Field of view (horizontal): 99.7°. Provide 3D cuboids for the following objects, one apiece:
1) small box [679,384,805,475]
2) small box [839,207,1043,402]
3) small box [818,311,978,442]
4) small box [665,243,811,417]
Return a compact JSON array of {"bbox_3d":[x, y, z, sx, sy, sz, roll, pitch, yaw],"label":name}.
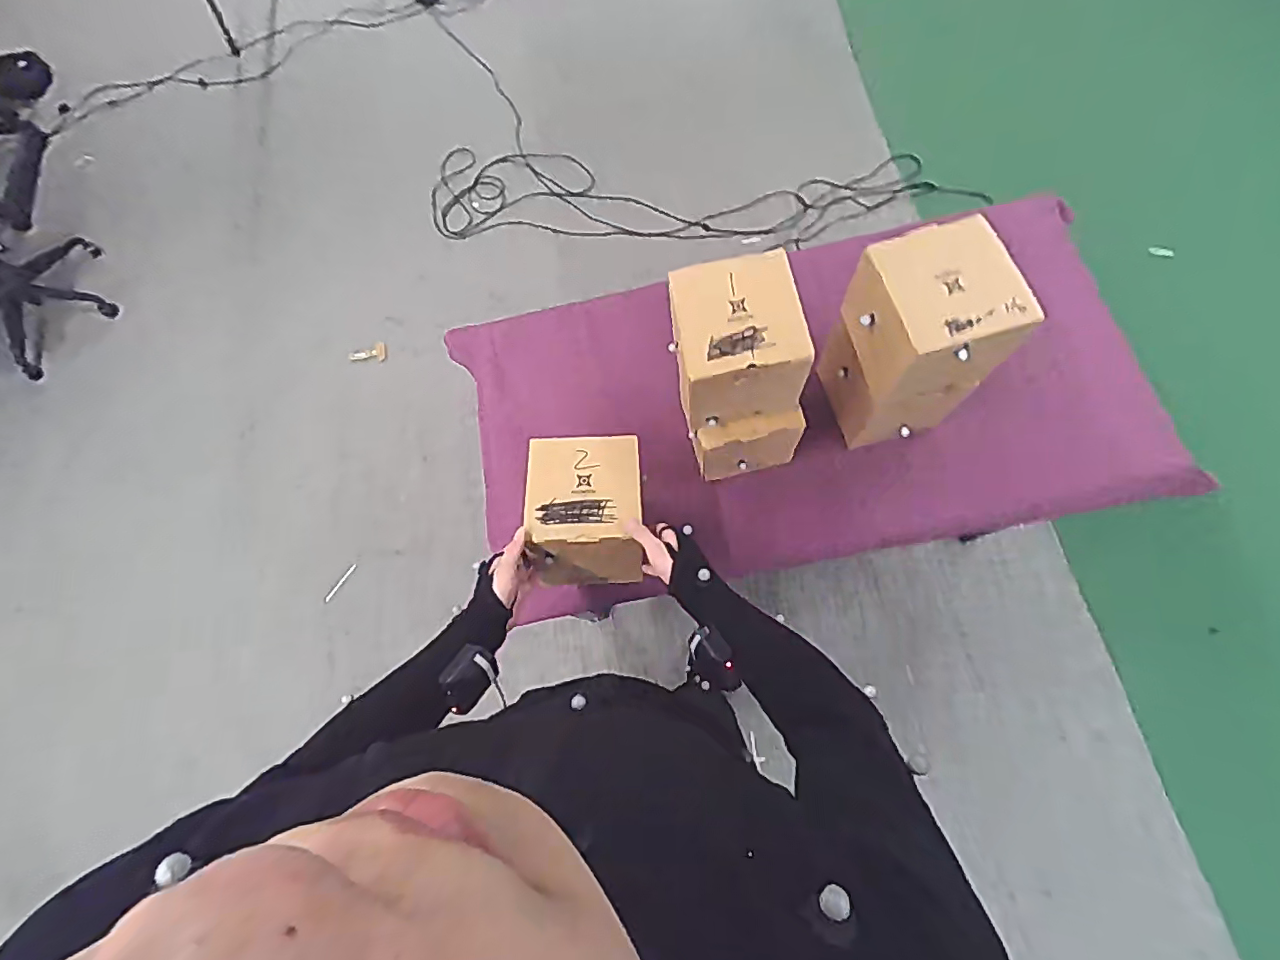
[{"bbox_3d":[0.164,-0.129,0.935,0.168,0.176,0.179,-14,72,1],"label":"small box"},{"bbox_3d":[0.406,-0.240,0.768,0.168,0.176,0.179,-16,71,1],"label":"small box"},{"bbox_3d":[0.422,-0.189,0.923,0.168,0.176,0.179,-16,72,1],"label":"small box"},{"bbox_3d":[0.135,-0.205,0.789,0.168,0.176,0.179,-10,71,3],"label":"small box"}]
